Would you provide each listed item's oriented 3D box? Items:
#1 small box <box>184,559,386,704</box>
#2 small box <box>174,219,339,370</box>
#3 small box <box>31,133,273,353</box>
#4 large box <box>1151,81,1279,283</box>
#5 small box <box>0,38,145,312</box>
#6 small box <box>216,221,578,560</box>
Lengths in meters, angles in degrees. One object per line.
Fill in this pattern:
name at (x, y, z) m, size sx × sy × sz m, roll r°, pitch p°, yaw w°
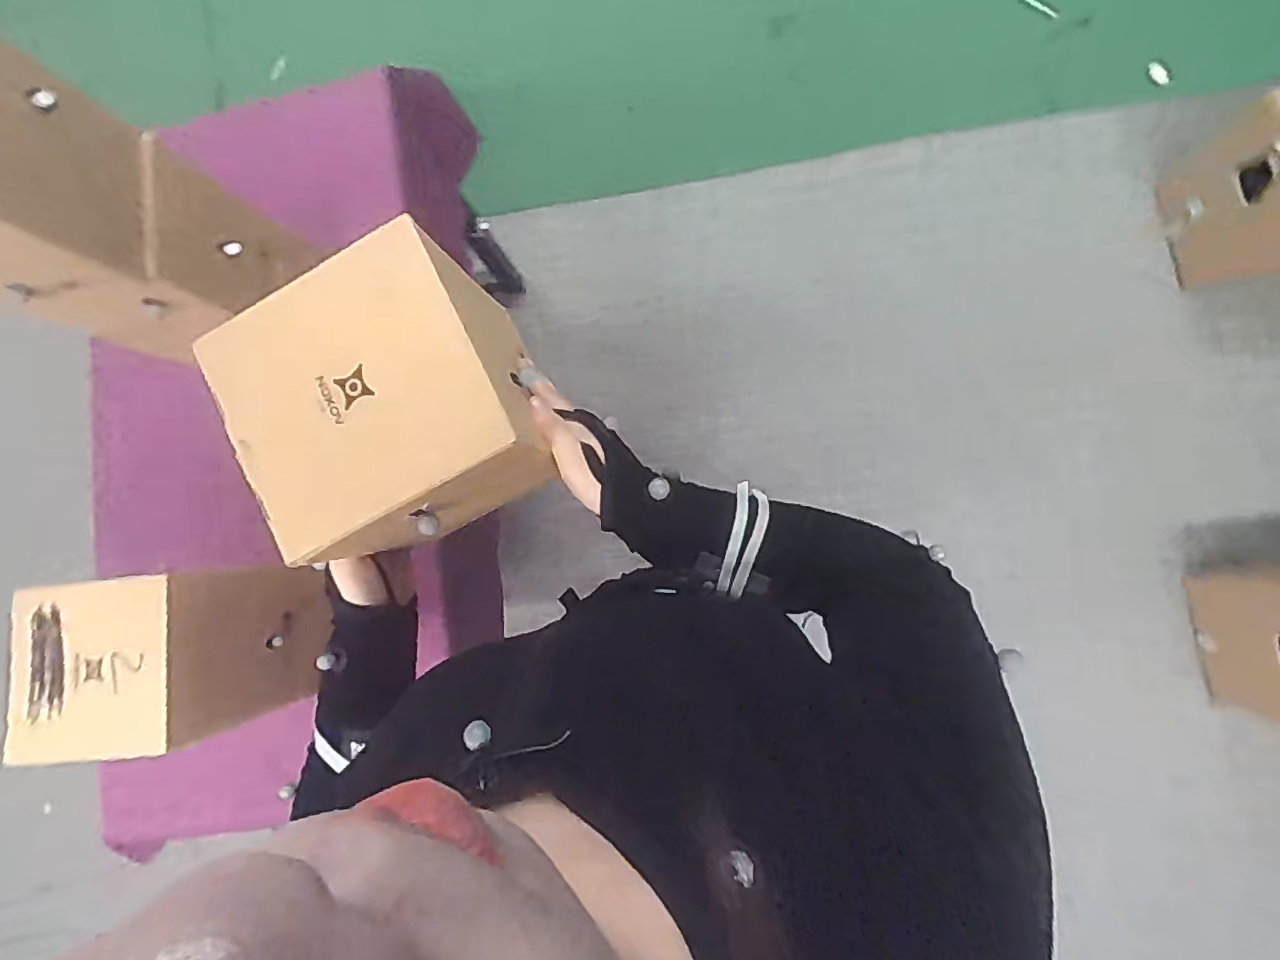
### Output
small box at (-0.488, 0.203, 0.761) m, size 0.179 × 0.176 × 0.168 m, roll -7°, pitch 84°, yaw 6°
small box at (-0.554, -0.256, 0.813) m, size 0.179 × 0.176 × 0.168 m, roll -9°, pitch 83°, yaw 6°
small box at (-0.576, -0.268, 0.650) m, size 0.179 × 0.176 × 0.168 m, roll -9°, pitch 83°, yaw 7°
large box at (1.554, -0.702, 1.255) m, size 0.408 × 0.320 × 0.320 m, roll -8°, pitch 83°, yaw 5°
small box at (-0.602, -0.278, 0.489) m, size 0.168 × 0.176 × 0.179 m, roll -9°, pitch 84°, yaw 8°
small box at (-0.163, -0.056, 0.425) m, size 0.179 × 0.176 × 0.168 m, roll -27°, pitch 85°, yaw 7°
